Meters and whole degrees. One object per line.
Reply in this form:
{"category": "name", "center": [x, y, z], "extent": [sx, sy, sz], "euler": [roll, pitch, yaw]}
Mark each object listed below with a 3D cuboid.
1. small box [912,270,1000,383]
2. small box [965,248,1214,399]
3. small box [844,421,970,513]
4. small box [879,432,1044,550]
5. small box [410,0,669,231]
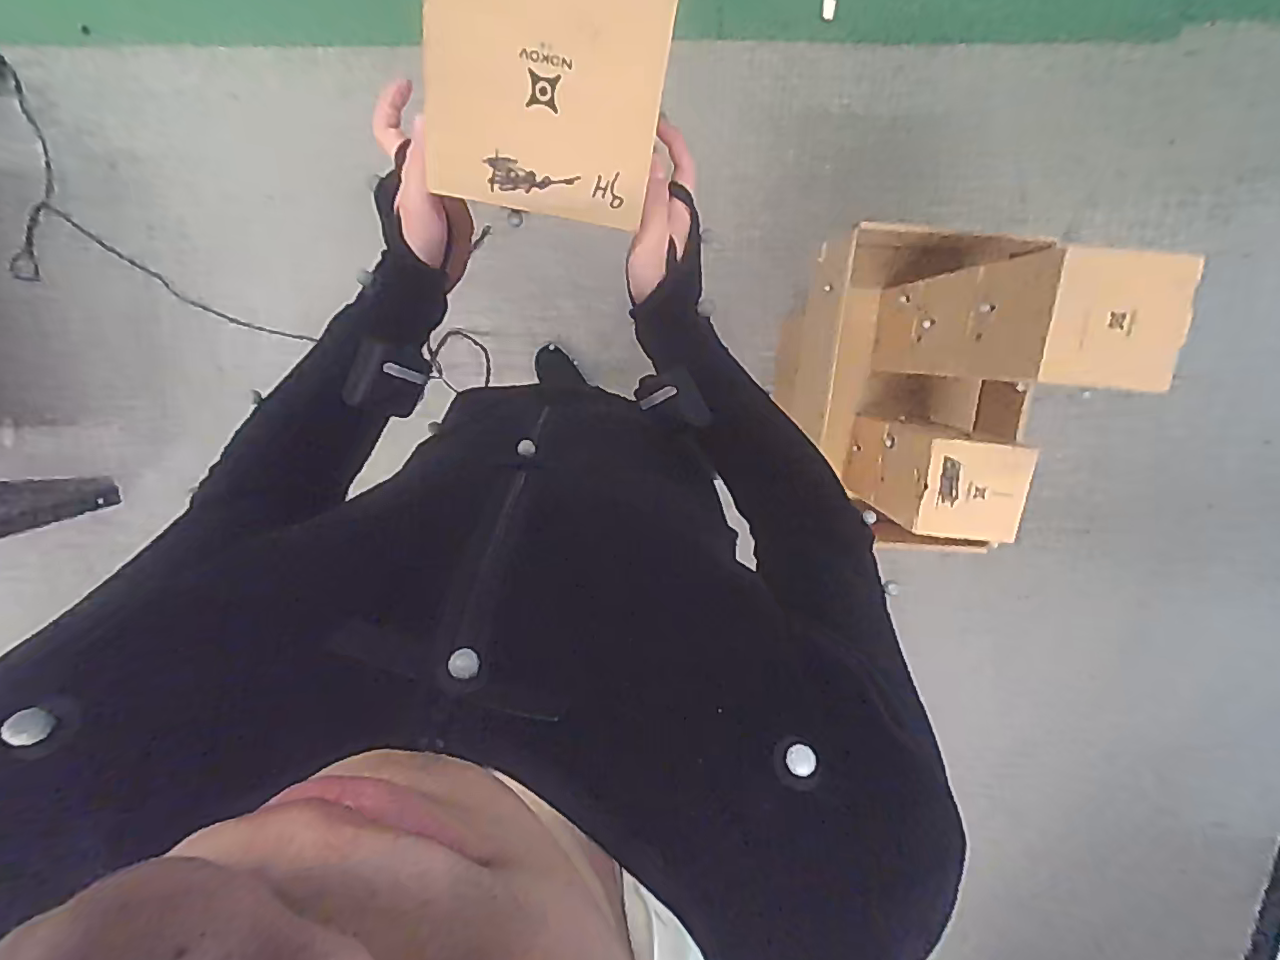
{"category": "small box", "center": [0.589, -0.244, 0.895], "extent": [0.179, 0.176, 0.168], "euler": [4, 102, -1]}
{"category": "small box", "center": [0.590, -0.206, 0.737], "extent": [0.179, 0.176, 0.168], "euler": [5, 102, -1]}
{"category": "small box", "center": [0.549, -0.026, 1.115], "extent": [0.179, 0.176, 0.168], "euler": [5, 103, -1]}
{"category": "small box", "center": [0.550, 0.012, 0.955], "extent": [0.179, 0.176, 0.168], "euler": [6, 103, -2]}
{"category": "small box", "center": [-0.076, -0.314, 0.439], "extent": [0.168, 0.176, 0.179], "euler": [8, 117, -7]}
